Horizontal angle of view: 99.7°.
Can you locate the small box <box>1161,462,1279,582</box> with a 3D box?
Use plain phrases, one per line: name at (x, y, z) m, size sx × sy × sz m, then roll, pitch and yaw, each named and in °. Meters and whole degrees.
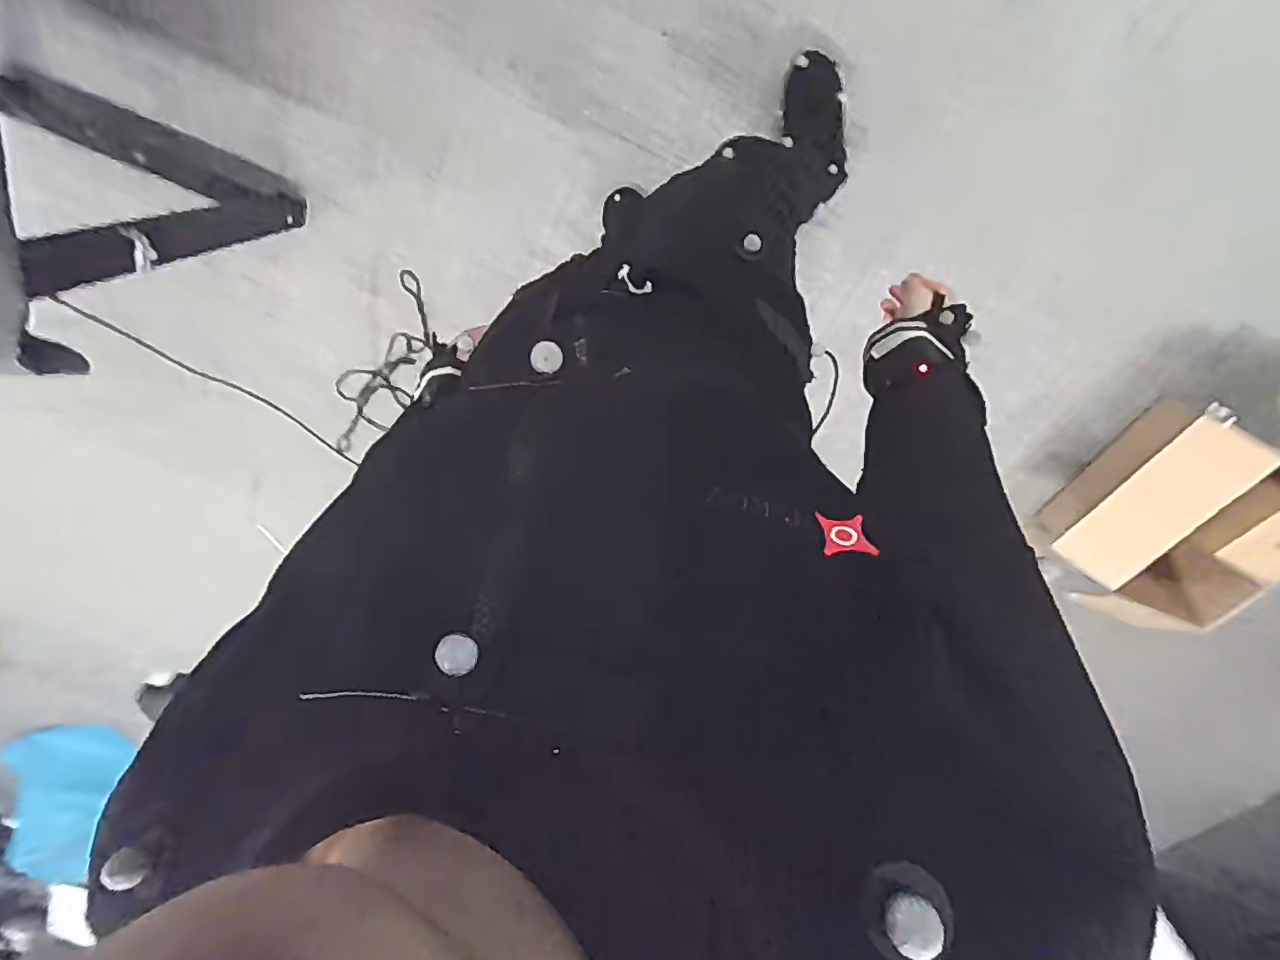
small box at (1.331, 0.086, 1.186) m, size 0.179 × 0.176 × 0.168 m, roll 24°, pitch 121°, yaw -10°
